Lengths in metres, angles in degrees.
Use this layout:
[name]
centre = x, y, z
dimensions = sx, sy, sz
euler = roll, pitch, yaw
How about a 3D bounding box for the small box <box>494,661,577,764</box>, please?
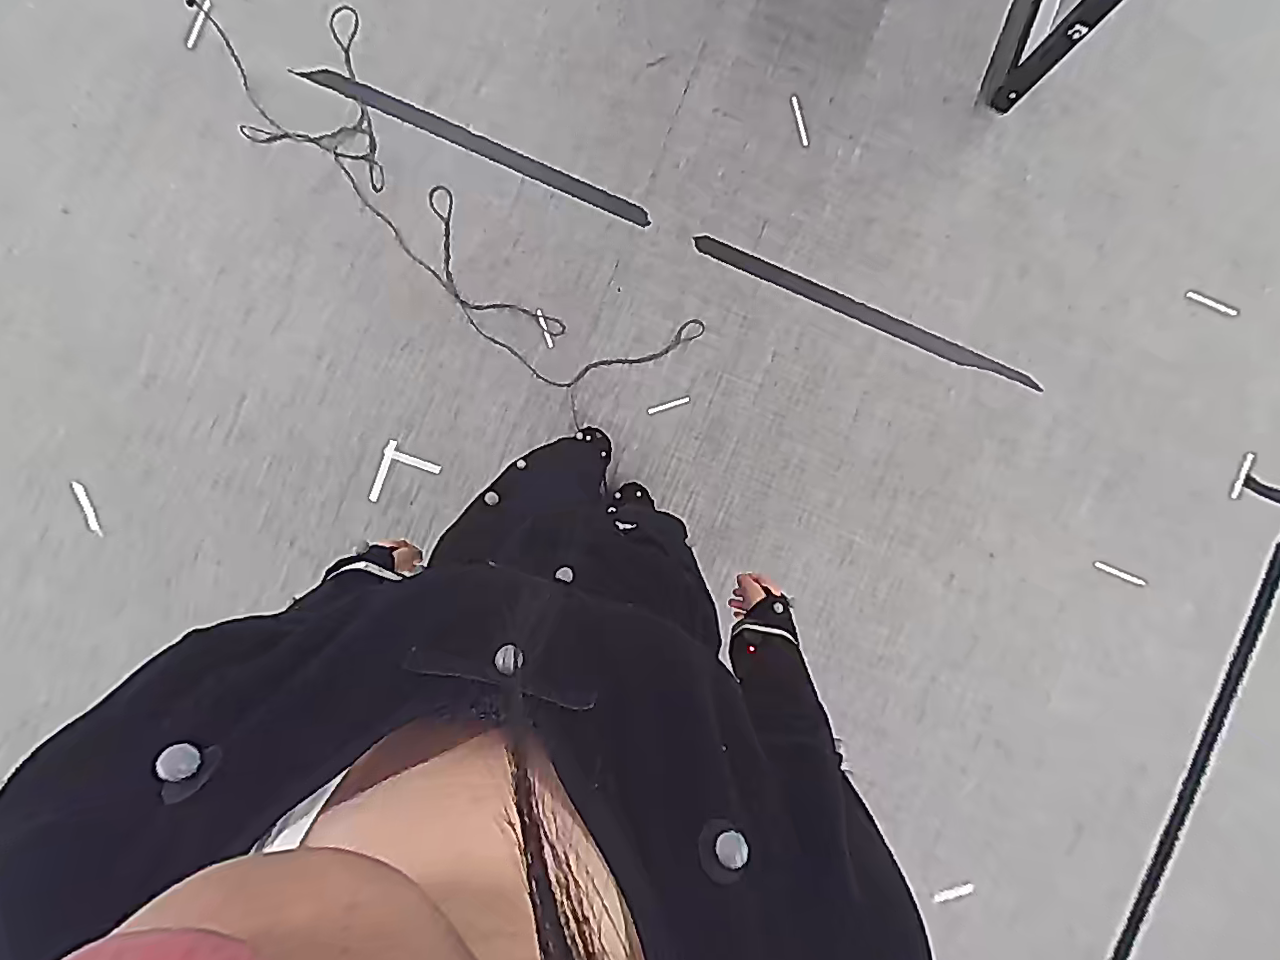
[small box]
centre = -0.259, 0.585, 1.383
dimensions = 0.168, 0.176, 0.179
euler = 13, 90, -2
